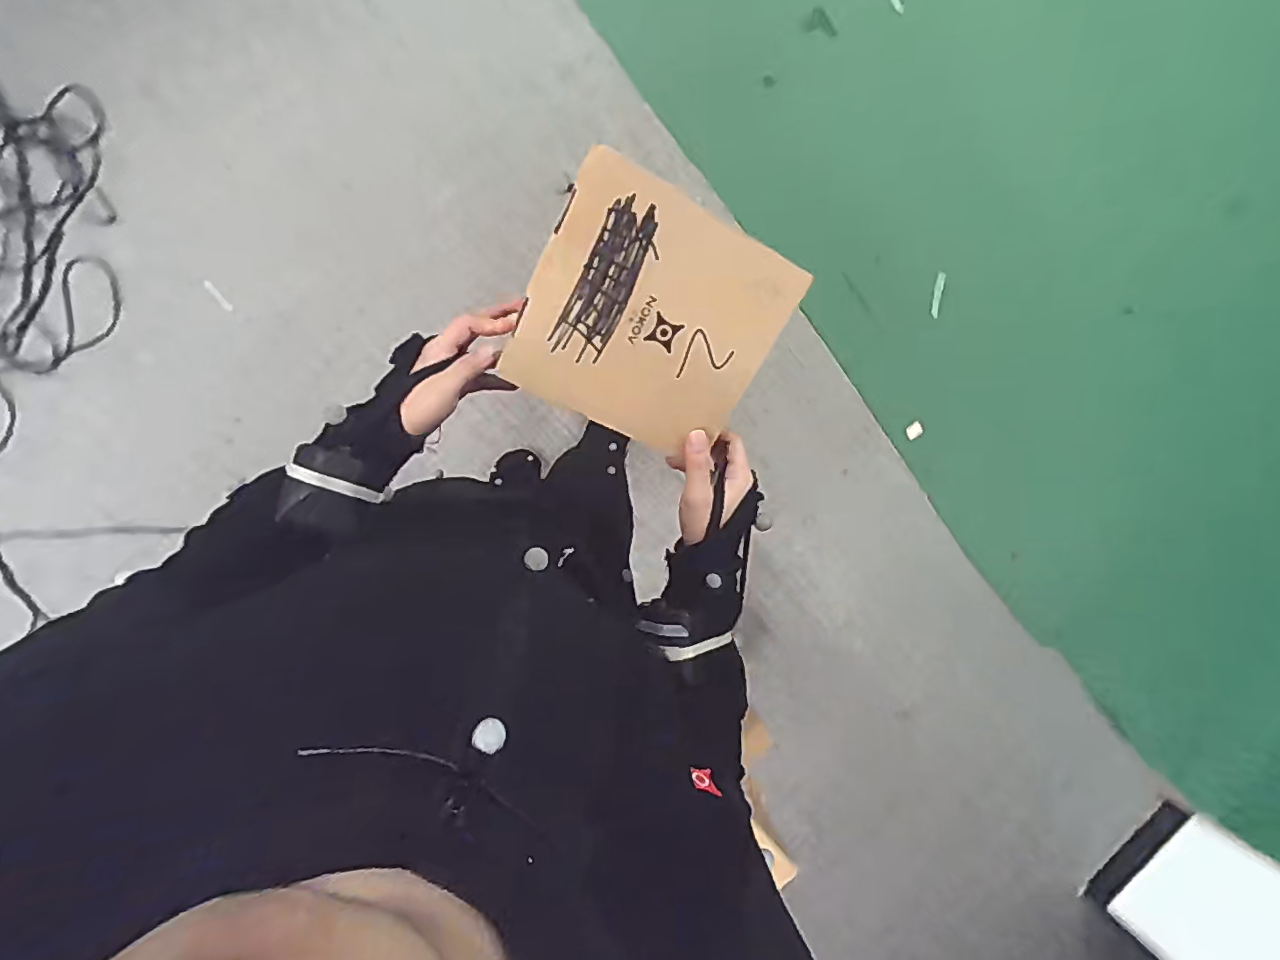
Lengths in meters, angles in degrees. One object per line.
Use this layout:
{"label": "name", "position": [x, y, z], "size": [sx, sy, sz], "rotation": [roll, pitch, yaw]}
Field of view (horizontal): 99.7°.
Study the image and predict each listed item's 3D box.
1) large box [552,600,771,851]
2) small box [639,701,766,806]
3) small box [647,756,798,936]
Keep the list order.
{"label": "large box", "position": [0.035, 0.578, 1.337], "size": [0.408, 0.320, 0.320], "rotation": [-37, 104, -3]}
{"label": "small box", "position": [0.120, 0.593, 1.106], "size": [0.179, 0.176, 0.168], "rotation": [-31, 105, -5]}
{"label": "small box", "position": [0.133, 0.623, 0.947], "size": [0.168, 0.176, 0.179], "rotation": [-39, 107, -1]}
